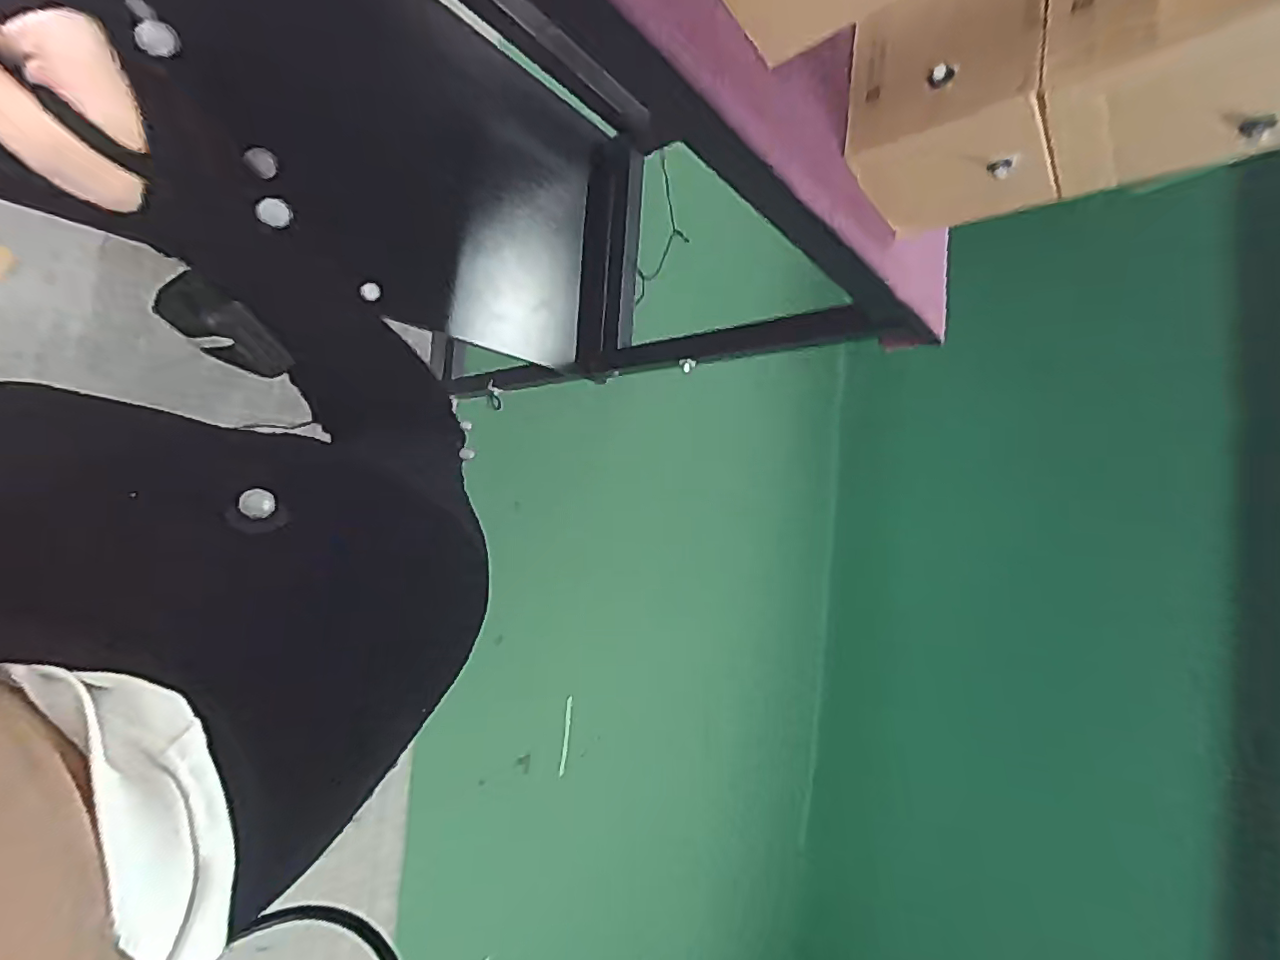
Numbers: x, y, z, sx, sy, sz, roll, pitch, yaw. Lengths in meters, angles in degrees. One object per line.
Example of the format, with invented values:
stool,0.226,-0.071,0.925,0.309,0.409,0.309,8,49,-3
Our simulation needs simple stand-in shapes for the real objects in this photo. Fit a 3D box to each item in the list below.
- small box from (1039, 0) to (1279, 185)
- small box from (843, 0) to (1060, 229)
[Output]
small box,0.446,-0.384,0.453,0.179,0.176,0.168,13,84,-47
small box,0.327,-0.390,0.562,0.179,0.176,0.168,12,85,-48
